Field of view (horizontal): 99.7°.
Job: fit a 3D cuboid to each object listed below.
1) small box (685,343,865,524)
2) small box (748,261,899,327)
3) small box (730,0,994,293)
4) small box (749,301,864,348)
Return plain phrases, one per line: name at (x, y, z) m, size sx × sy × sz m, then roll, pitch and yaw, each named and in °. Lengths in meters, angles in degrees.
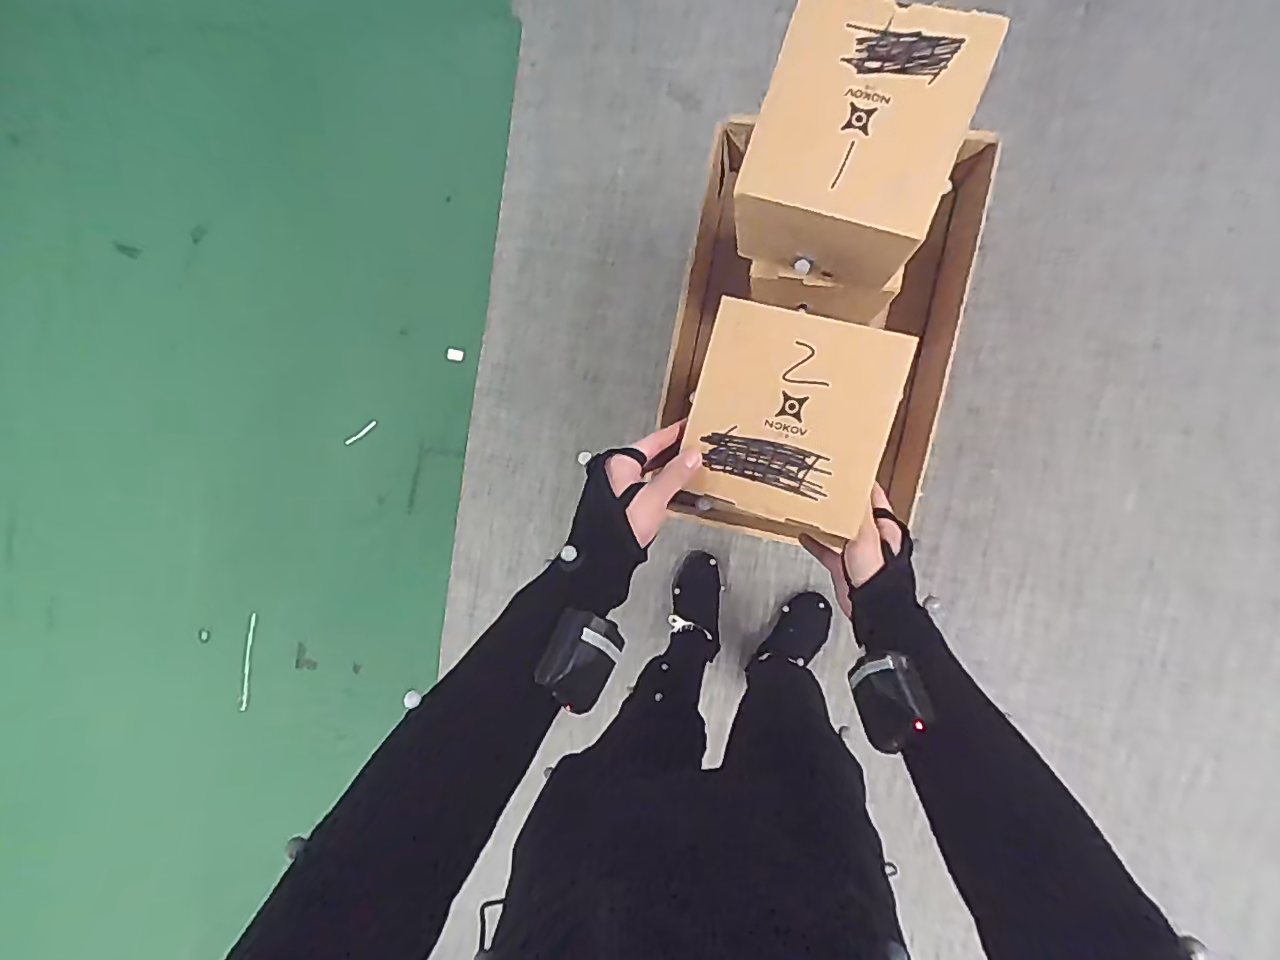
small box at (0.171, -0.057, 0.703) m, size 0.168 × 0.176 × 0.179 m, roll 18°, pitch 95°, yaw 11°
small box at (0.233, -0.310, 0.688) m, size 0.168 × 0.176 × 0.179 m, roll 11°, pitch 95°, yaw 11°
small box at (0.195, -0.308, 0.529) m, size 0.168 × 0.176 × 0.179 m, roll 20°, pitch 98°, yaw 11°
small box at (0.268, -0.319, 0.846) m, size 0.168 × 0.176 × 0.179 m, roll 11°, pitch 95°, yaw 12°
